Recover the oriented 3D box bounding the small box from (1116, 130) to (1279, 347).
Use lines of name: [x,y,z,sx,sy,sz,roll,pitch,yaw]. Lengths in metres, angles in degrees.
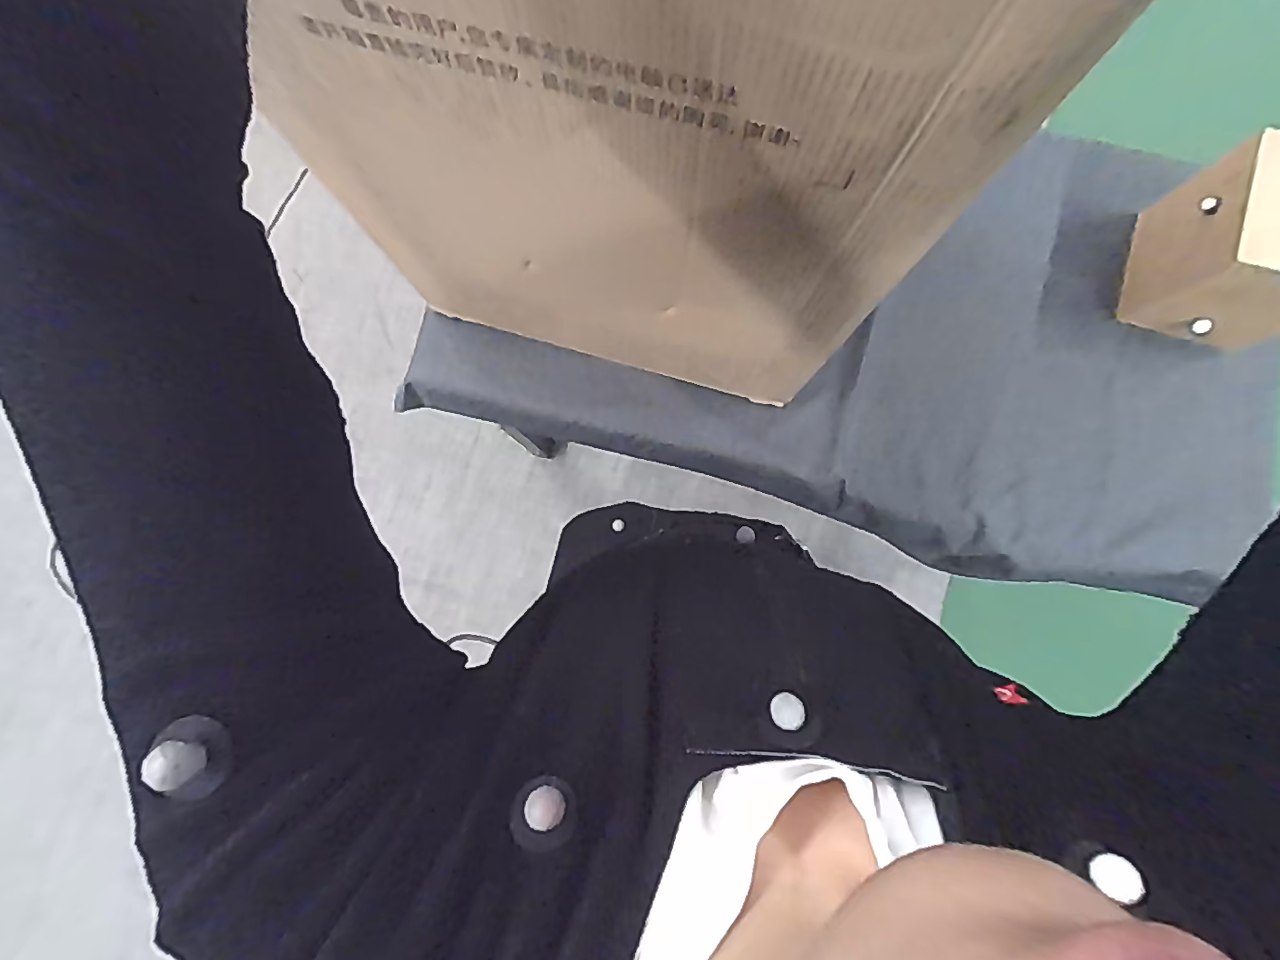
small box: [0.784,-0.303,0.711,0.168,0.176,0.179,17,84,3]
